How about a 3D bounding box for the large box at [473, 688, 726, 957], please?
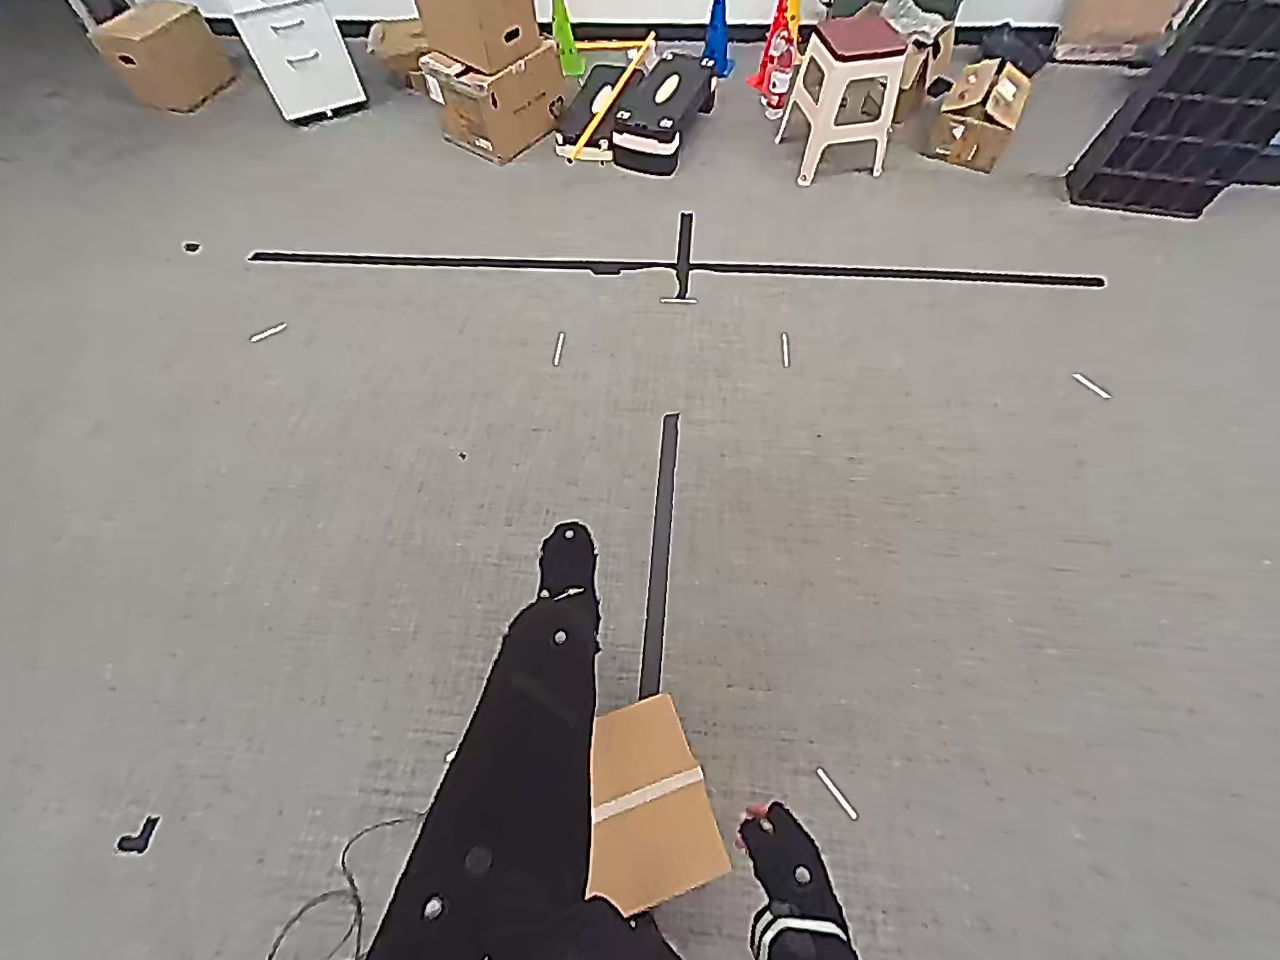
[{"bbox_3d":[-0.078,0.669,1.117,0.408,0.320,0.320,-18,62,-8],"label":"large box"}]
